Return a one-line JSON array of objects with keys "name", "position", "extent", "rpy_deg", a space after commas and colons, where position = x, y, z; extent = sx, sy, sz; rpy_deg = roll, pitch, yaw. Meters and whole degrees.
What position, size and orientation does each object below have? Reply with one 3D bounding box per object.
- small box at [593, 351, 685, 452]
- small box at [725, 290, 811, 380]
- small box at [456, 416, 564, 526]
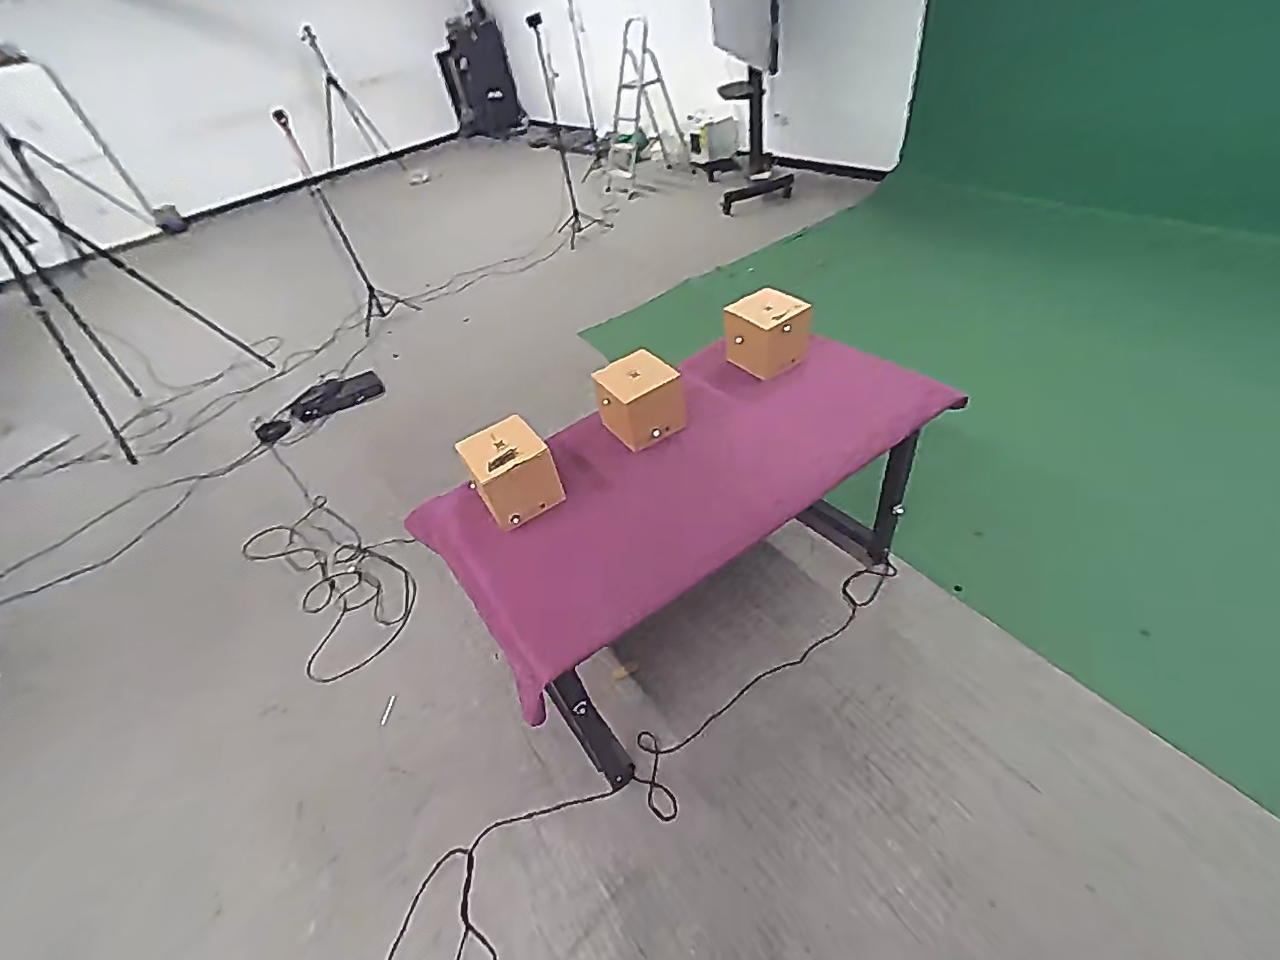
[{"name": "small box", "position": [0.000, -0.202, 1.406], "extent": [0.168, 0.176, 0.179], "rpy_deg": [-30, 47, -17]}, {"name": "small box", "position": [0.361, -0.410, 1.537], "extent": [0.168, 0.176, 0.179], "rpy_deg": [-31, 46, -18]}, {"name": "small box", "position": [-0.300, -0.015, 1.273], "extent": [0.168, 0.176, 0.179], "rpy_deg": [-30, 47, -19]}]
